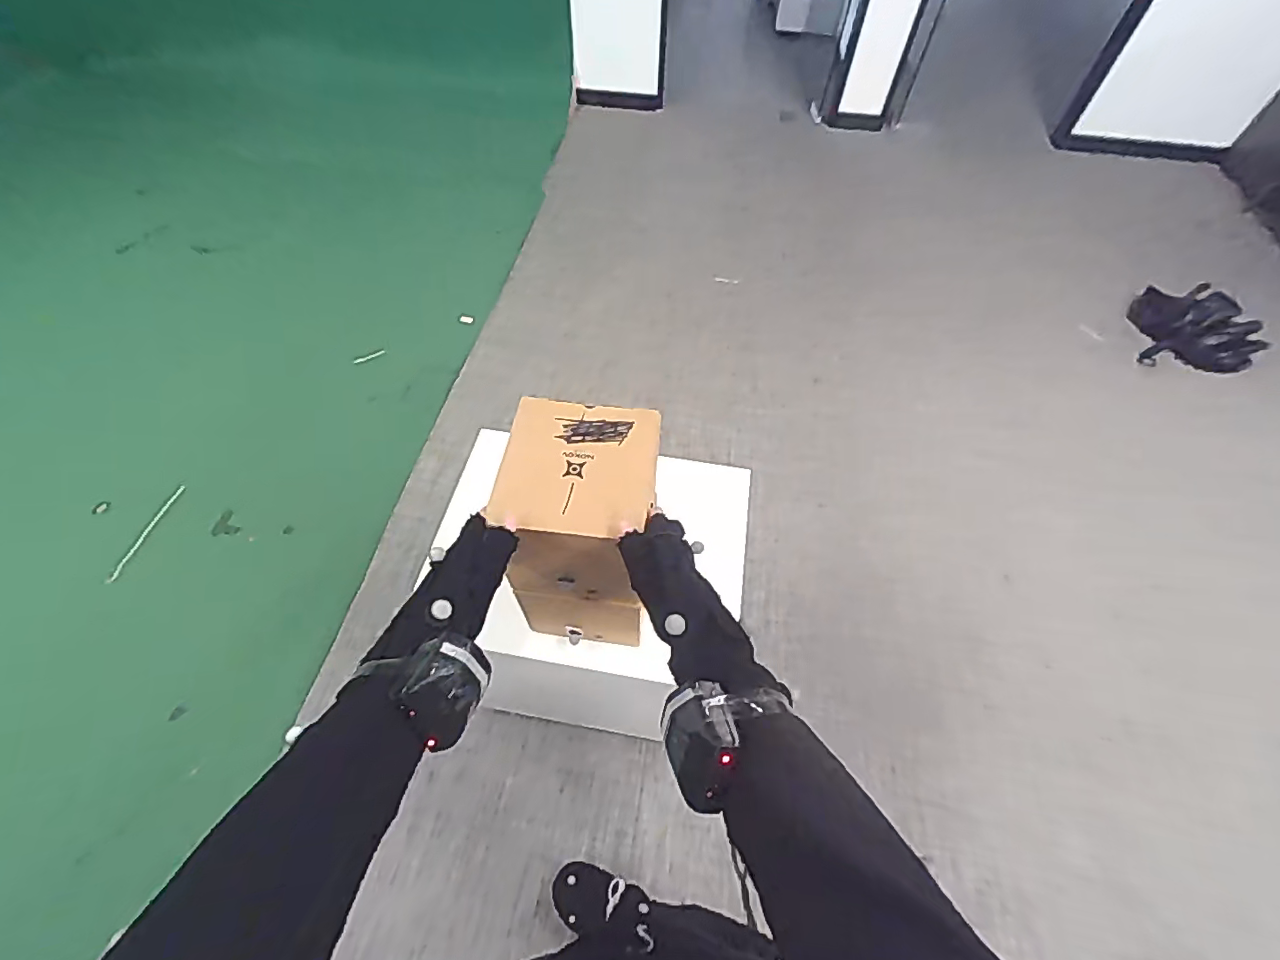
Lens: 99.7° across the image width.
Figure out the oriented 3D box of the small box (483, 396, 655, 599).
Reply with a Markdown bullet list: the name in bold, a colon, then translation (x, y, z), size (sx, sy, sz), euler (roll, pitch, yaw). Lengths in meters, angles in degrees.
- **small box**: translation (-0.071, 0.024, 0.648), size (0.168, 0.176, 0.179), euler (3, 55, 2)

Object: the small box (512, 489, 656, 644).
- **small box**: translation (-0.070, 0.119, 0.781), size (0.168, 0.176, 0.179), euler (5, 58, 4)
